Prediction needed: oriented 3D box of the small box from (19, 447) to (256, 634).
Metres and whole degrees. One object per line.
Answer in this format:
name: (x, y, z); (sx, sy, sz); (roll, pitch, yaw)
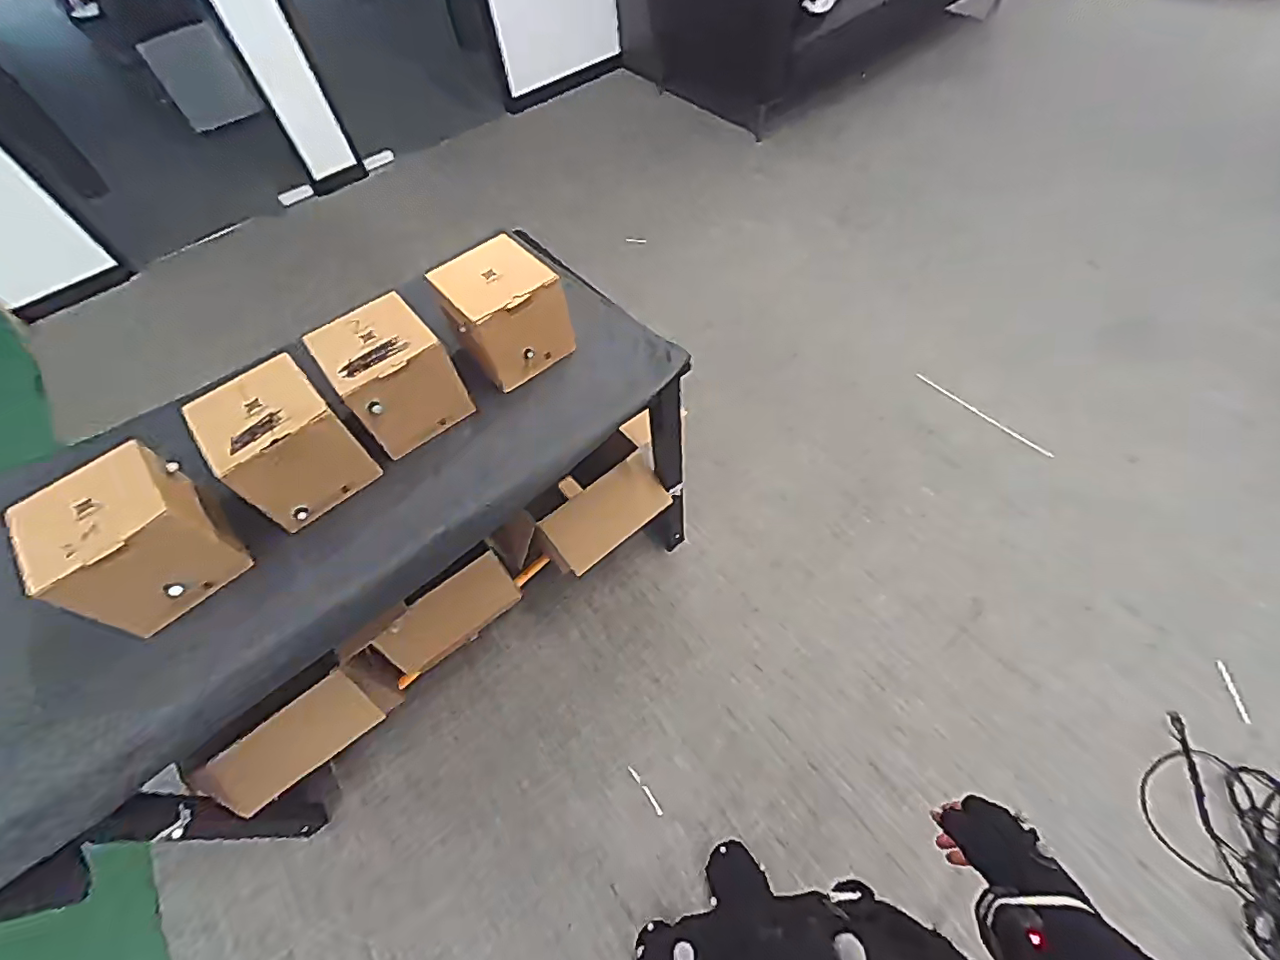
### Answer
small box: (-0.713, 0.093, 0.783); (0.168, 0.176, 0.179); (-41, 63, -18)

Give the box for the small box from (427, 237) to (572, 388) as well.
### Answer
small box: (-0.249, -0.300, 0.986); (0.168, 0.176, 0.179); (-38, 62, -17)
